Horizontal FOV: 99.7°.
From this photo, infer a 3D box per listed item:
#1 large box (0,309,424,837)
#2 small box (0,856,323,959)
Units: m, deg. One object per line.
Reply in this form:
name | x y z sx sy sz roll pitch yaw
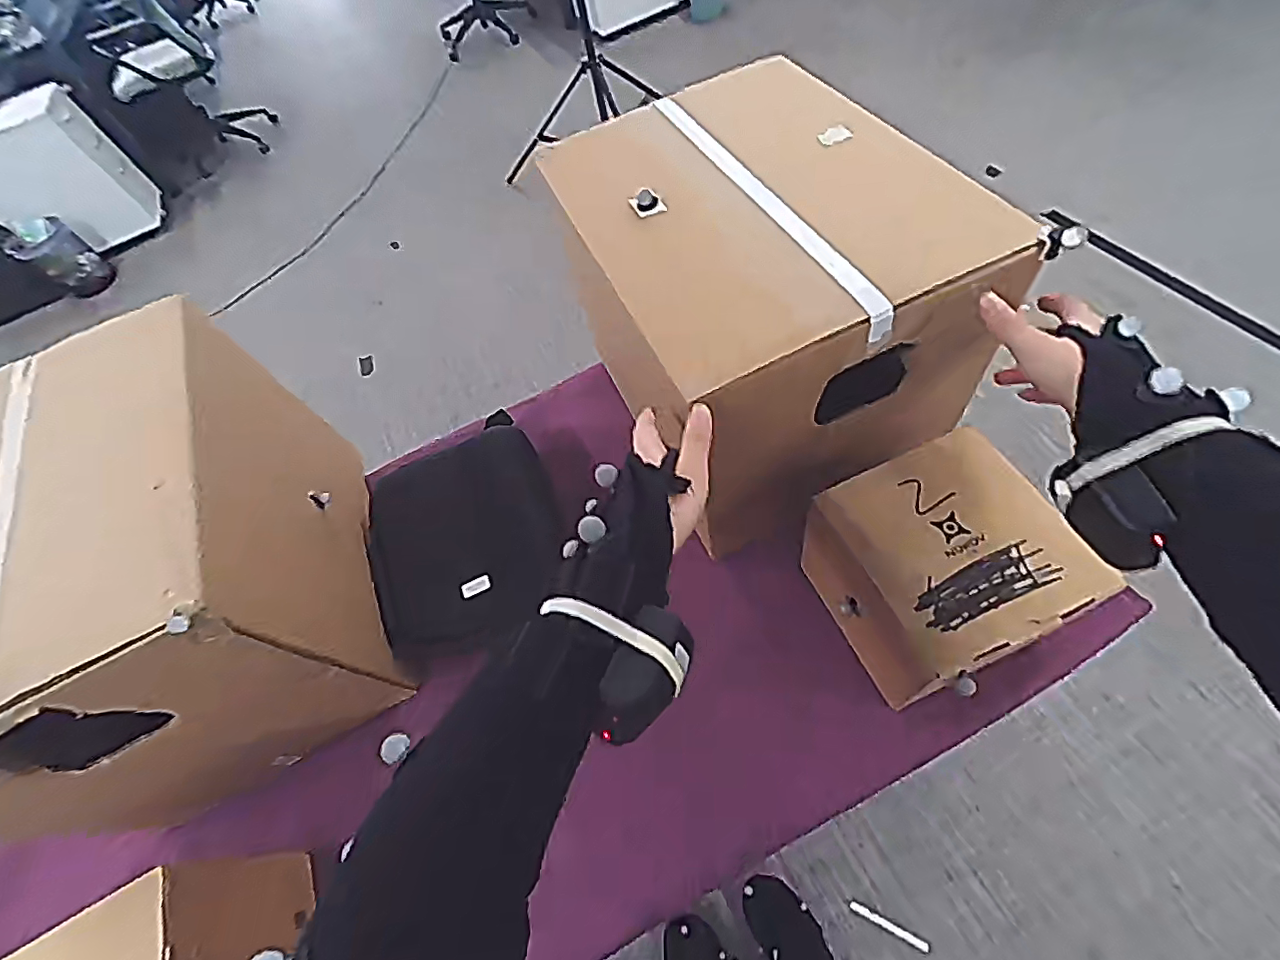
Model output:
large box | -0.498 0.100 0.595 0.320 0.320 0.408 -30 60 -6
small box | -0.397 0.445 0.445 0.179 0.176 0.168 -30 57 -8
